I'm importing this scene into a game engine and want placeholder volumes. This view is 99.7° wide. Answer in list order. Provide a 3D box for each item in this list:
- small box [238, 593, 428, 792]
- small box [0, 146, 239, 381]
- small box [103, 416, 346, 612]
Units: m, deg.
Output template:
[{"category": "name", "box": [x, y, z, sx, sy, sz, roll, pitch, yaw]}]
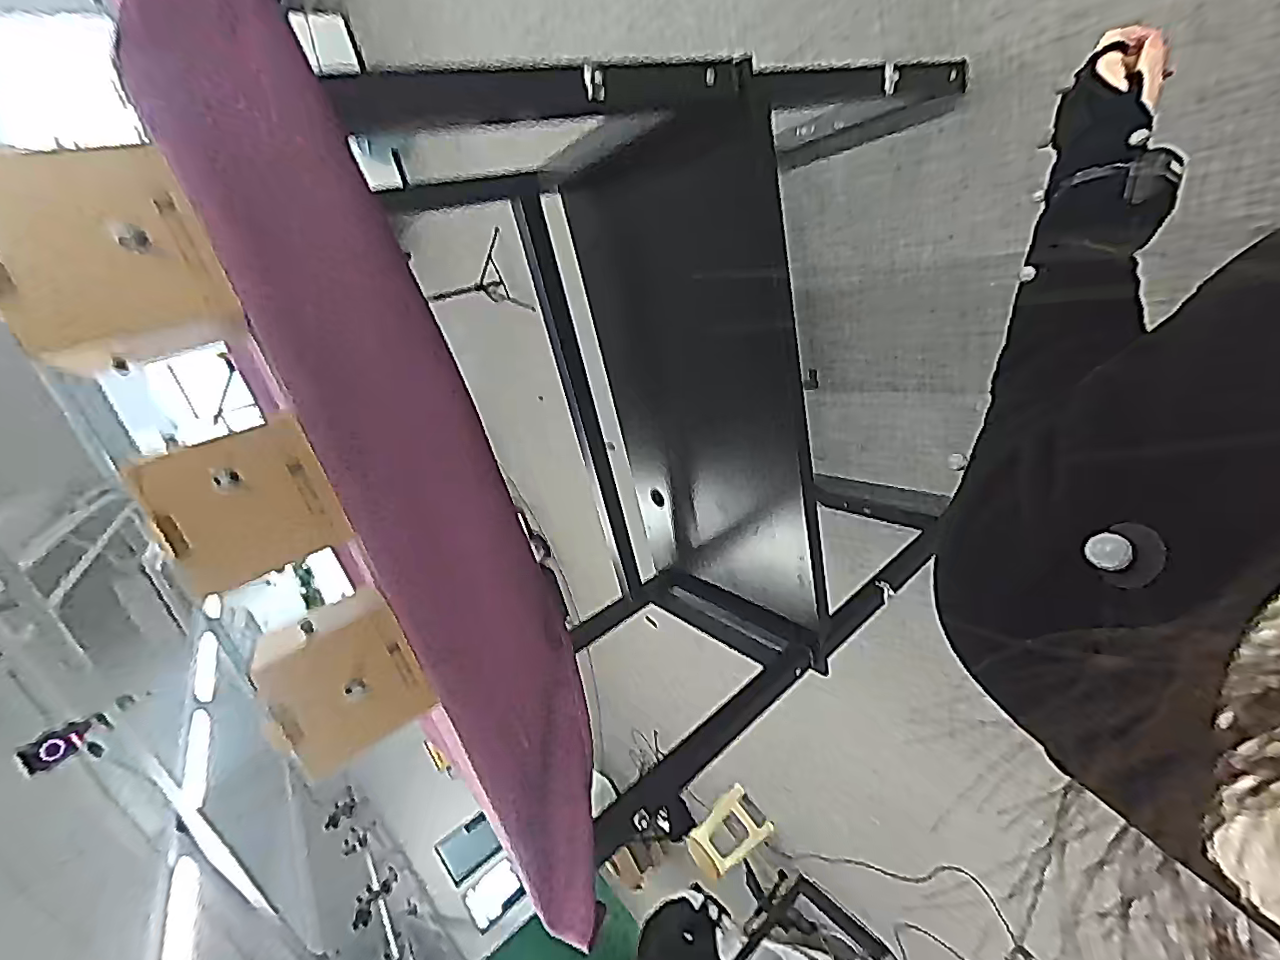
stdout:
[{"category": "small box", "box": [-0.415, 0.274, 0.746, 0.179, 0.176, 0.168, -2, 111, 57]}, {"category": "small box", "box": [-0.536, -0.208, 0.544, 0.179, 0.176, 0.168, 6, 120, 56]}, {"category": "small box", "box": [-0.481, 0.026, 0.654, 0.179, 0.176, 0.168, 11, 122, 54]}]
